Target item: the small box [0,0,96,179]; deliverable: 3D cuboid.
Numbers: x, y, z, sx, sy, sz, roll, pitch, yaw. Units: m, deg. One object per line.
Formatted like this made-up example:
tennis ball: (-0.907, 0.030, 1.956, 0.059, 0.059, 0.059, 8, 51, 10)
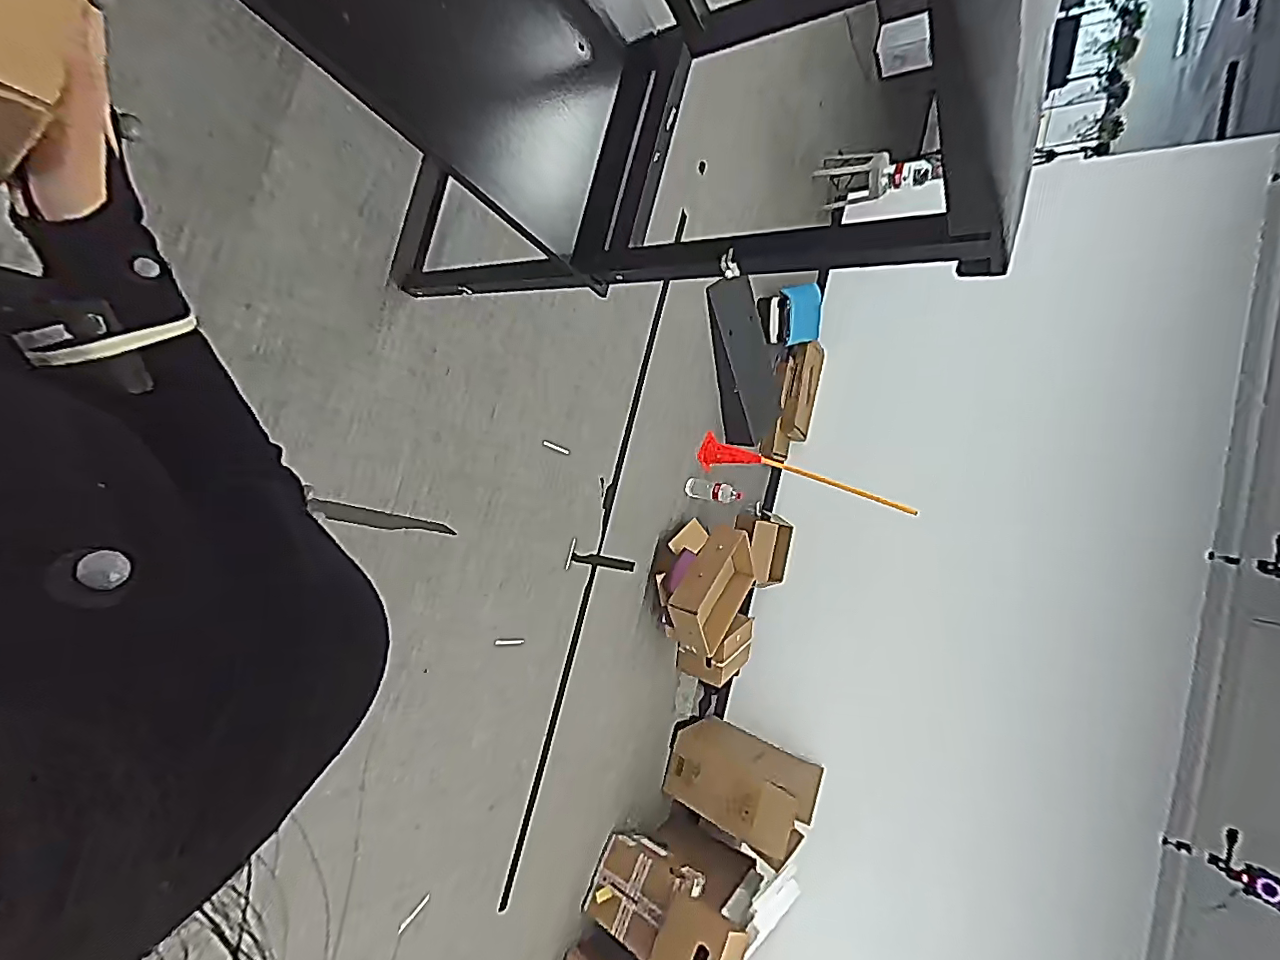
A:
small box: (-0.320, -0.245, 0.197, 0.168, 0.176, 0.179, 14, 85, -56)
